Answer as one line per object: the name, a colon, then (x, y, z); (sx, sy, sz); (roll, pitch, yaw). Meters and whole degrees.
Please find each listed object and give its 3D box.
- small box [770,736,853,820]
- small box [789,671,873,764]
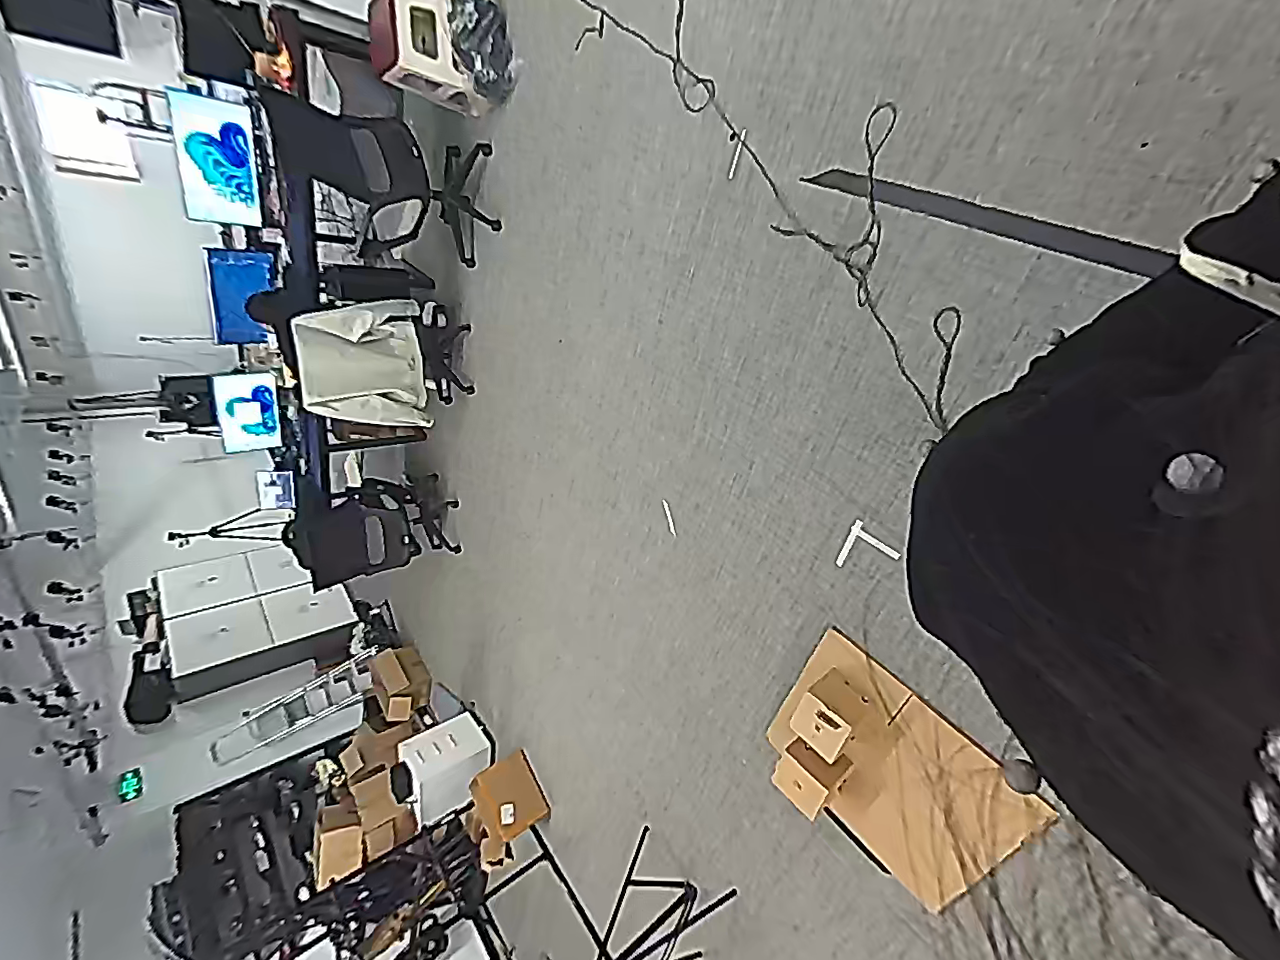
small box: (0.574, 0.976, 1.811); (0.179, 0.176, 0.168); (34, 125, 38)
small box: (0.606, 0.740, 1.706); (0.168, 0.176, 0.179); (37, 126, 37)
